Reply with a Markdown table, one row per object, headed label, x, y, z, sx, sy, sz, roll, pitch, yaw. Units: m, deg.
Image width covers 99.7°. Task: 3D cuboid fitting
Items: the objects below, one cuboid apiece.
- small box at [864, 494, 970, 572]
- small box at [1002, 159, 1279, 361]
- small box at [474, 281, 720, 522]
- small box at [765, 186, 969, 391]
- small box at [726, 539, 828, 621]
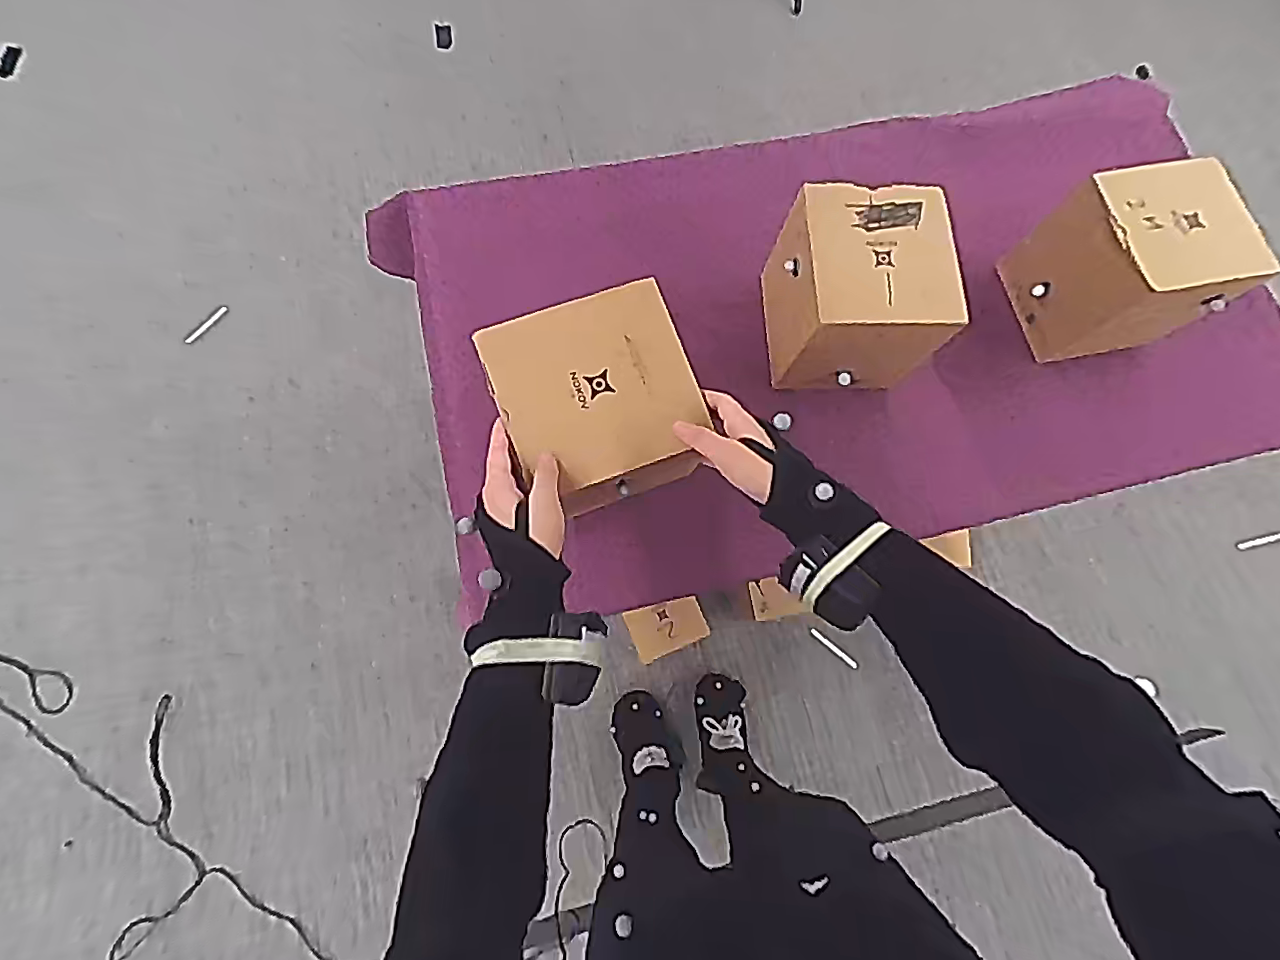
| label | x | y | z | sx | sy | sz | roll | pitch | yaw |
| --- | --- | --- | --- | --- | --- | --- | --- | --- | --- |
| small box | 0.685 | 0.138 | 1.352 | 0.179 | 0.176 | 0.168 | 4 | 76 | -1 |
| small box | 0.625 | -0.274 | 0.699 | 0.179 | 0.176 | 0.168 | -11 | 75 | -6 |
| small box | -0.043 | -0.065 | 0.549 | 0.179 | 0.176 | 0.168 | -21 | 83 | -8 |
| small box | 0.260 | -0.225 | 0.664 | 0.168 | 0.176 | 0.179 | -1 | 76 | -3 |
| small box | 0.322 | 0.242 | 1.302 | 0.179 | 0.176 | 0.168 | -8 | 76 | -6 |
